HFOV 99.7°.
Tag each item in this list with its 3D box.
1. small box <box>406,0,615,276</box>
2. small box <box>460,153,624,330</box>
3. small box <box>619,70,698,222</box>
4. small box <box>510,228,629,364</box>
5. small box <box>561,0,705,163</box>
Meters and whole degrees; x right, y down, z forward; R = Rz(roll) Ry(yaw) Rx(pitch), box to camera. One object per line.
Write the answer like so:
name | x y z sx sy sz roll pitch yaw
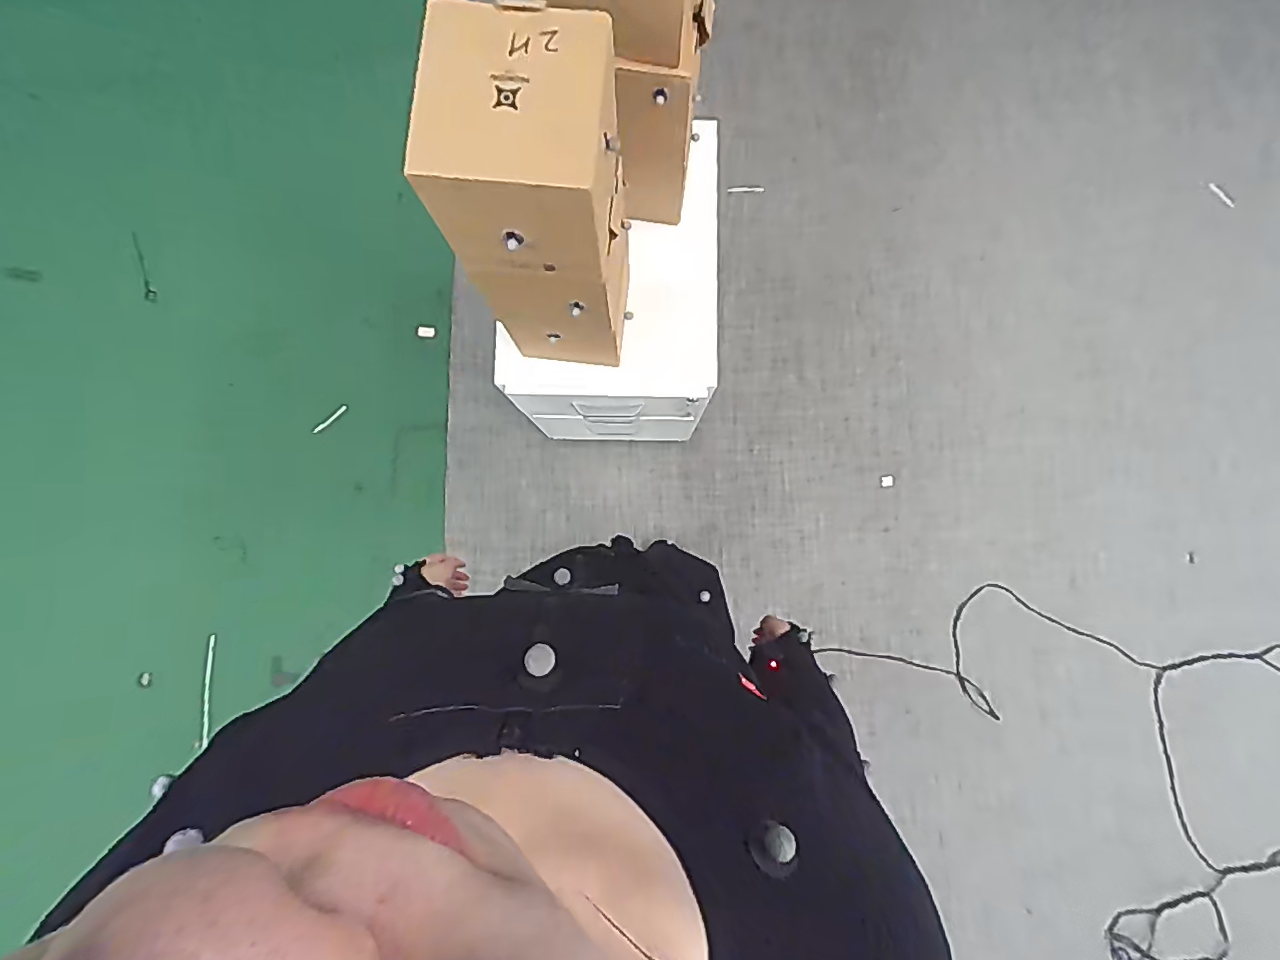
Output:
small box | -0.116 -0.334 0.558 0.168 0.176 0.179 6 83 -1
small box | -0.117 -0.313 0.721 0.179 0.176 0.168 6 83 1
small box | -0.005 -0.560 0.909 0.179 0.176 0.168 8 85 1
small box | -0.114 -0.300 0.883 0.179 0.176 0.168 7 84 -1
small box | -0.011 -0.572 0.747 0.179 0.176 0.168 7 85 0
